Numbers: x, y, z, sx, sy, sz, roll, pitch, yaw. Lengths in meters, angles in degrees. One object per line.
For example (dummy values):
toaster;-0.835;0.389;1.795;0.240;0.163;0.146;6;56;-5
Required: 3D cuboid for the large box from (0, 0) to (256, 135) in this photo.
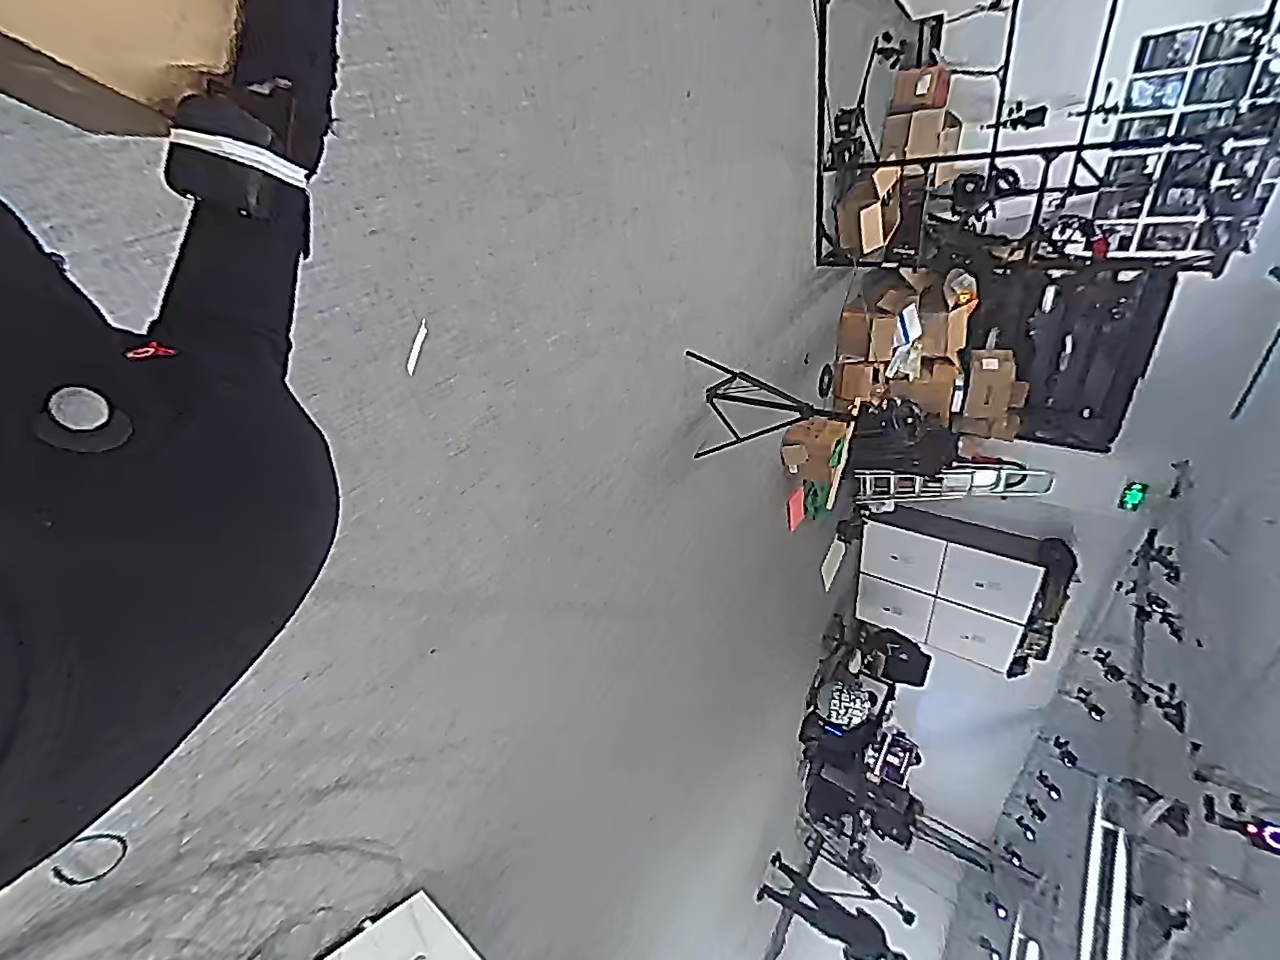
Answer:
large box;-0.482;-0.462;0.292;0.408;0.320;0.320;10;102;-59
